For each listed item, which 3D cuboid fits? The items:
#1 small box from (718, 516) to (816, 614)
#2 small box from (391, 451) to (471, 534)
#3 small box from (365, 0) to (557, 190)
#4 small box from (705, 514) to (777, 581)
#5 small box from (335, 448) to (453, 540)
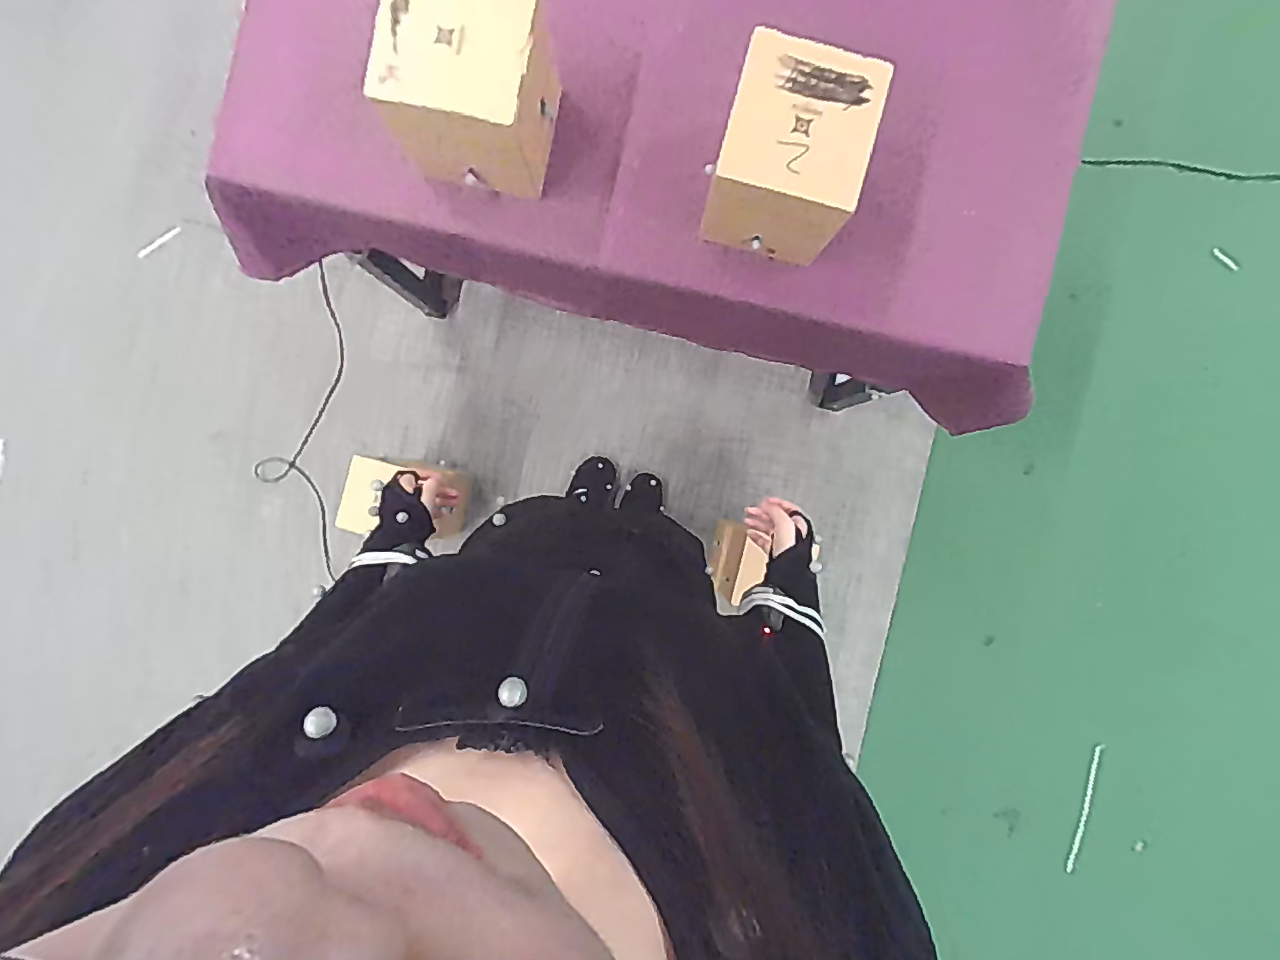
[{"bbox_3d":[0.291,0.193,1.277,0.168,0.176,0.179,14,91,-3],"label":"small box"},{"bbox_3d":[-0.564,0.030,1.425,0.168,0.176,0.179,14,90,-1],"label":"small box"},{"bbox_3d":[-0.210,-0.499,0.686,0.179,0.176,0.168,11,91,-2],"label":"small box"},{"bbox_3d":[0.280,0.188,1.440,0.179,0.176,0.168,11,92,-2],"label":"small box"},{"bbox_3d":[-0.565,0.031,1.260,0.179,0.176,0.168,16,91,-2],"label":"small box"}]
